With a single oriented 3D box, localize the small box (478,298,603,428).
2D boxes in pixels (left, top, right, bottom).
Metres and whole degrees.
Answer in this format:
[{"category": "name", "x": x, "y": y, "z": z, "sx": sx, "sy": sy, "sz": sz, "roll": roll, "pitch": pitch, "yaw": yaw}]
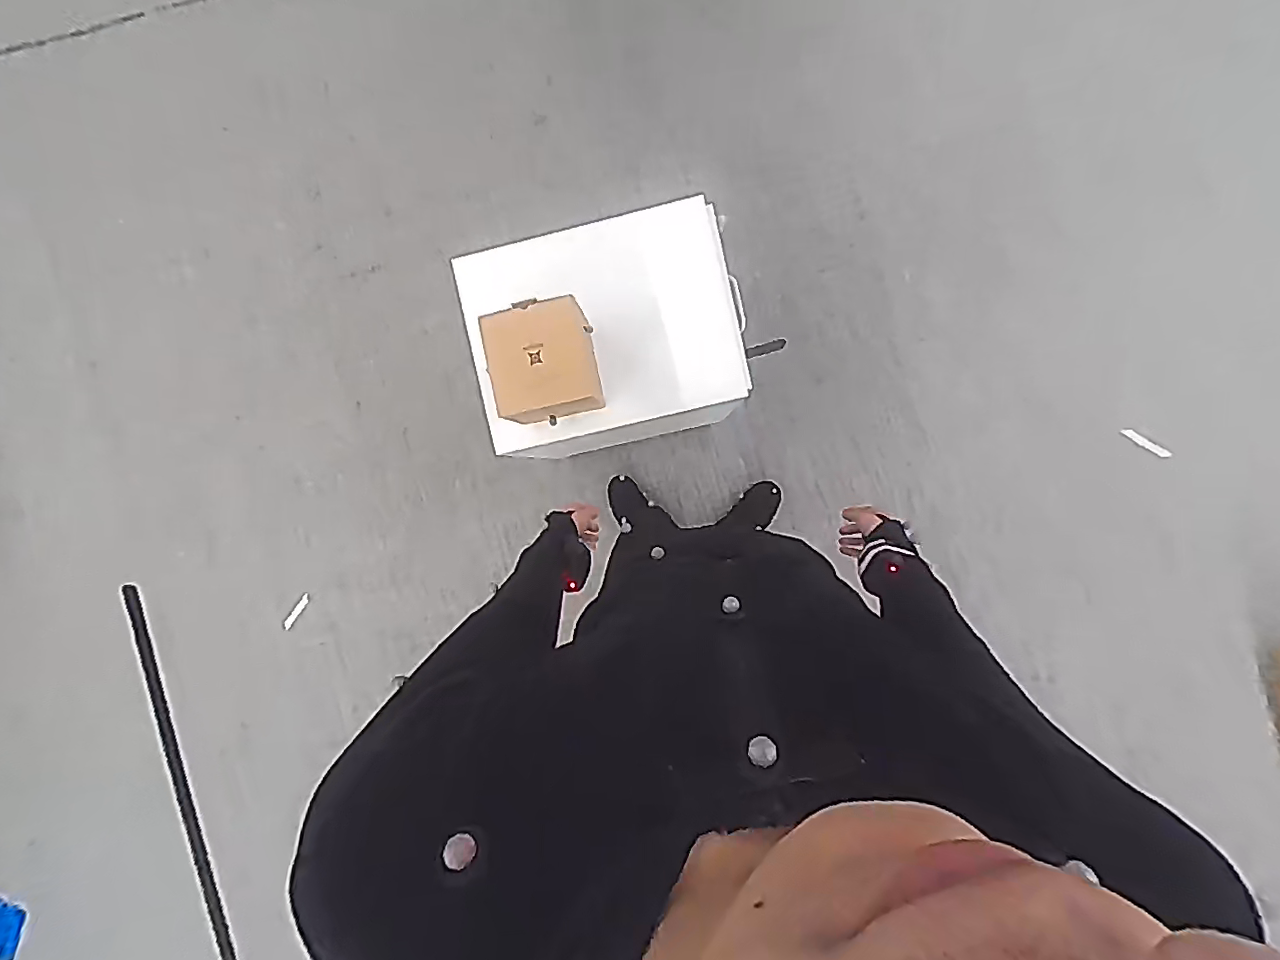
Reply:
[{"category": "small box", "x": -0.169, "y": -0.200, "z": 0.970, "sx": 0.168, "sy": 0.176, "sz": 0.179, "roll": -12, "pitch": 90, "yaw": 4}]
